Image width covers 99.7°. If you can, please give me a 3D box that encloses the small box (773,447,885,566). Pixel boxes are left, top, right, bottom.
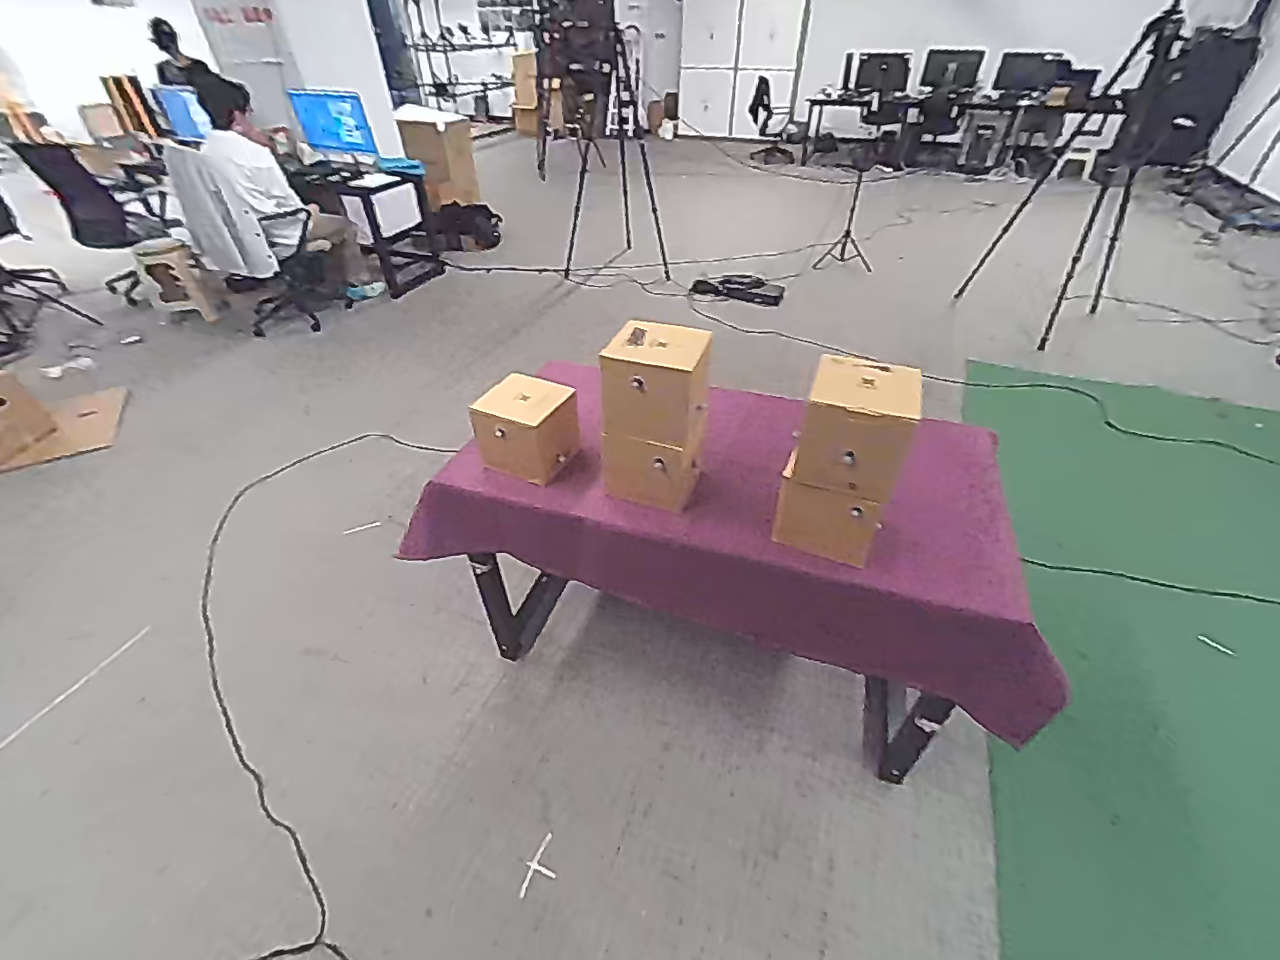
[{"bbox_3d":[0.367,0.039,1.041,0.179,0.176,0.168,18,43,20],"label":"small box"}]

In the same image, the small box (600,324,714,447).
[{"bbox_3d":[0.034,-0.185,1.054,0.179,0.176,0.168,13,42,15],"label":"small box"}]

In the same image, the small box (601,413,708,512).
[{"bbox_3d":[0.033,-0.054,1.155,0.179,0.176,0.168,15,41,17],"label":"small box"}]

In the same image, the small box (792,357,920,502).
[{"bbox_3d":[0.369,-0.087,0.935,0.168,0.176,0.179,15,43,17],"label":"small box"}]

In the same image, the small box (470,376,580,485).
[{"bbox_3d":[-0.253,-0.111,1.230,0.179,0.176,0.168,18,44,20],"label":"small box"}]
